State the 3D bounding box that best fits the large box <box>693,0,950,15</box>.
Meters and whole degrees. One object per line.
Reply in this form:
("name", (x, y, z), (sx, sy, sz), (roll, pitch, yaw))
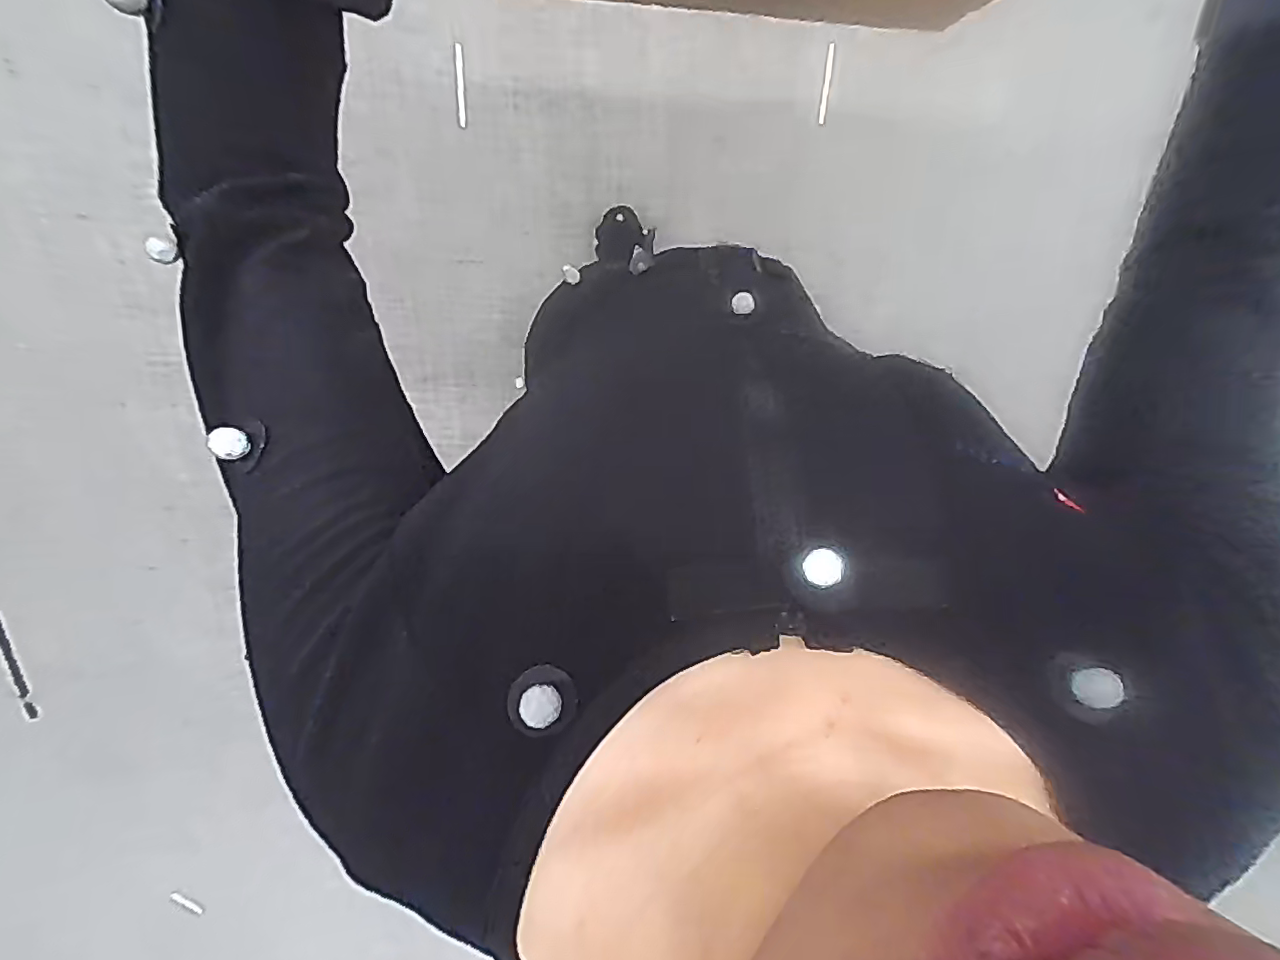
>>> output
("large box", (0.079, -0.495, 0.278), (0.408, 0.320, 0.320), (1, 116, -4))
